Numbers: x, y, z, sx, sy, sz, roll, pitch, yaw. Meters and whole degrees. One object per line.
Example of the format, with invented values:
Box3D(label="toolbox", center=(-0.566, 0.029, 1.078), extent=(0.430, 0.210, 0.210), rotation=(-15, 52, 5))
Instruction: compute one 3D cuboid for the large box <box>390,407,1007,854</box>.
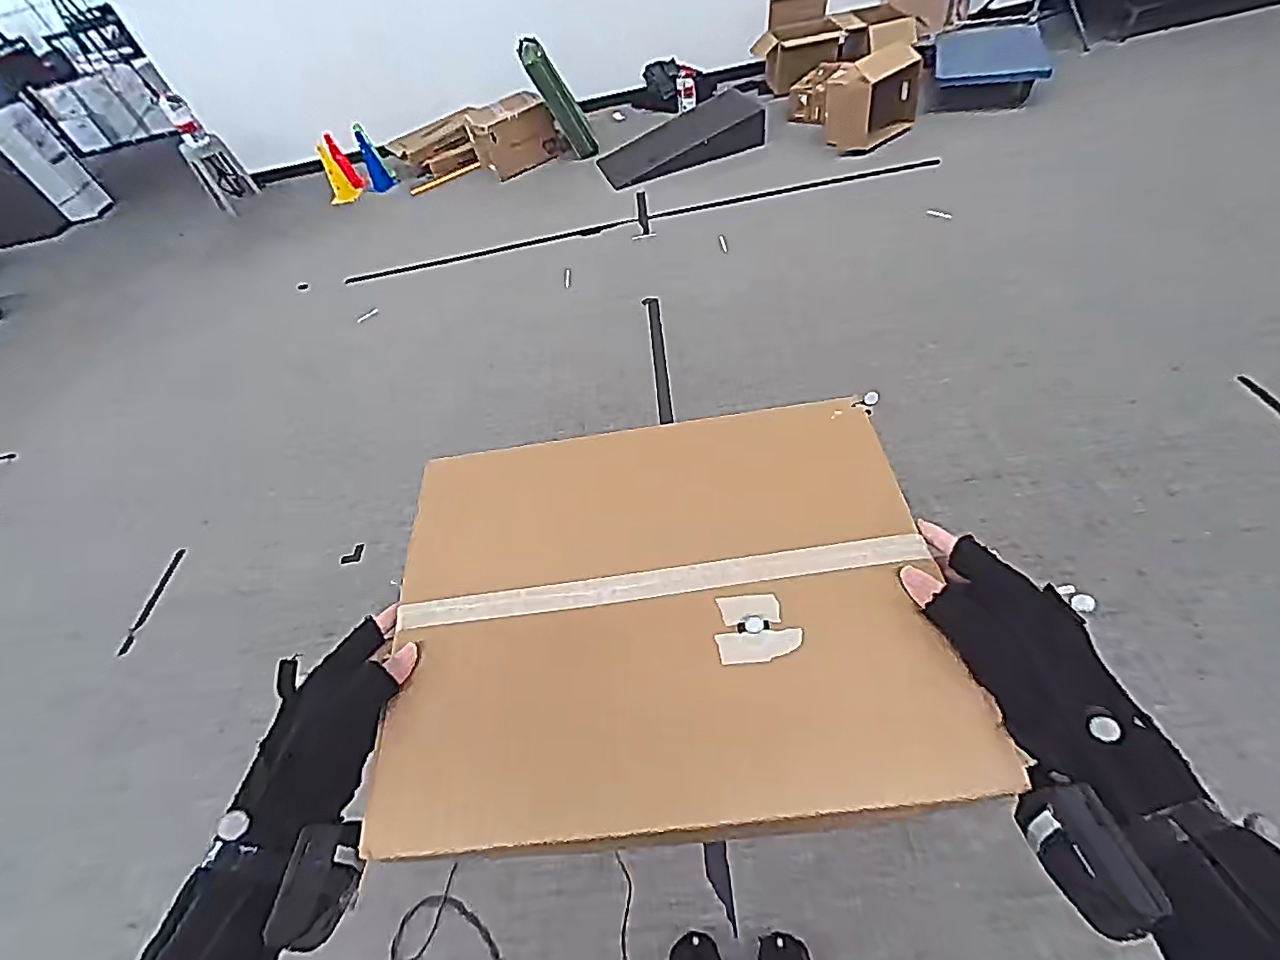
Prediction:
Box3D(label="large box", center=(0.035, 0.168, 0.546), extent=(0.408, 0.320, 0.320), rotation=(-8, 55, 3))
